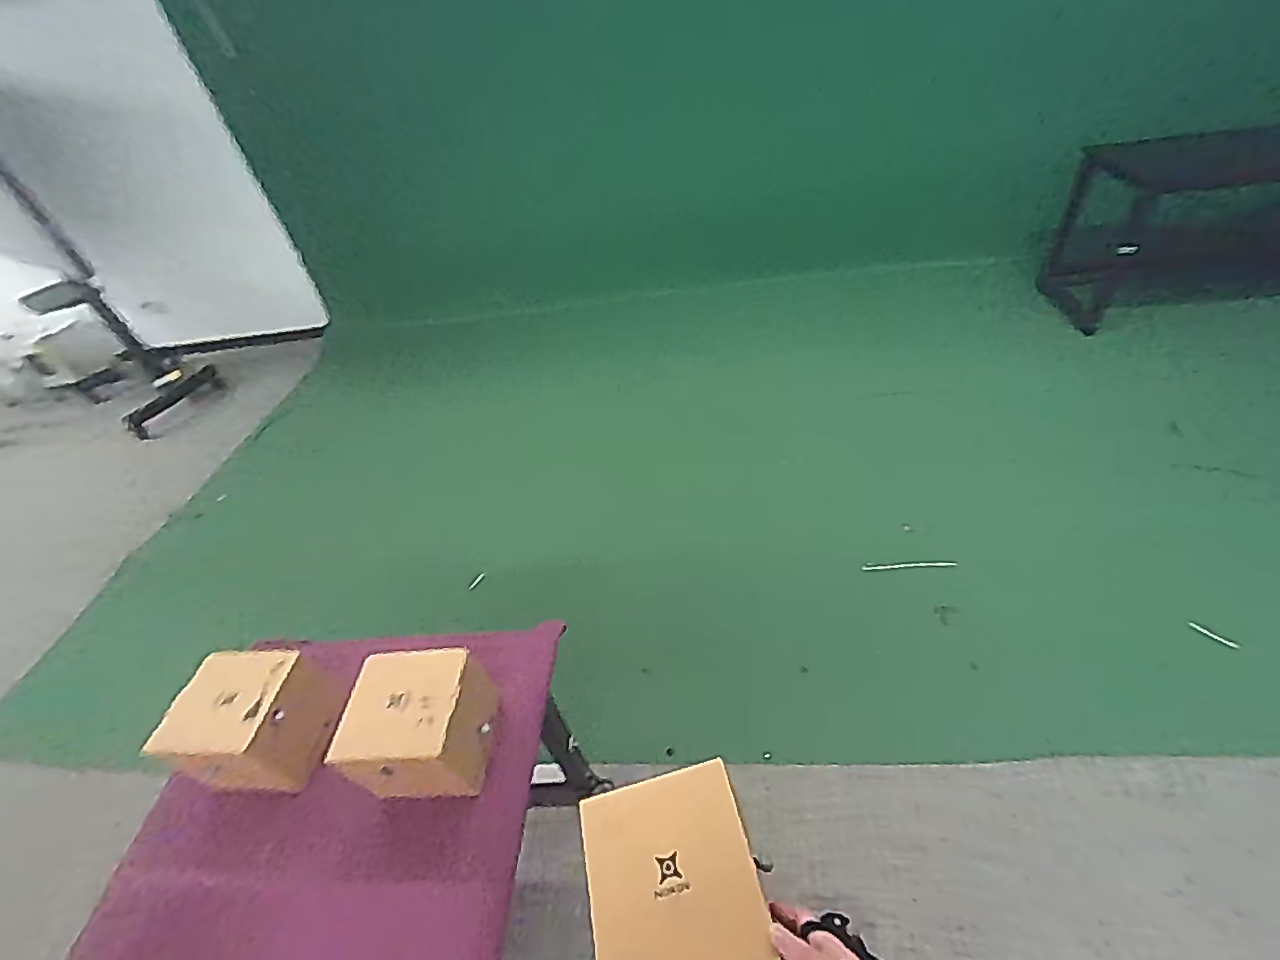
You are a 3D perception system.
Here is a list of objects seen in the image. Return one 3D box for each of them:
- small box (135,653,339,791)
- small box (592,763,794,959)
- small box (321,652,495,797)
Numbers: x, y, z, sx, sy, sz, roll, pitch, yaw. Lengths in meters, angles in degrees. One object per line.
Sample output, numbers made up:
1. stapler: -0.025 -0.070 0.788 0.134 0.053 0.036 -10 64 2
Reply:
1. small box: -0.656 0.407 0.906 0.179 0.176 0.168 -3 45 7
2. small box: 0.055 0.440 0.584 0.168 0.176 0.179 -16 47 0
3. small box: -0.354 0.393 0.863 0.179 0.176 0.168 -4 45 5
